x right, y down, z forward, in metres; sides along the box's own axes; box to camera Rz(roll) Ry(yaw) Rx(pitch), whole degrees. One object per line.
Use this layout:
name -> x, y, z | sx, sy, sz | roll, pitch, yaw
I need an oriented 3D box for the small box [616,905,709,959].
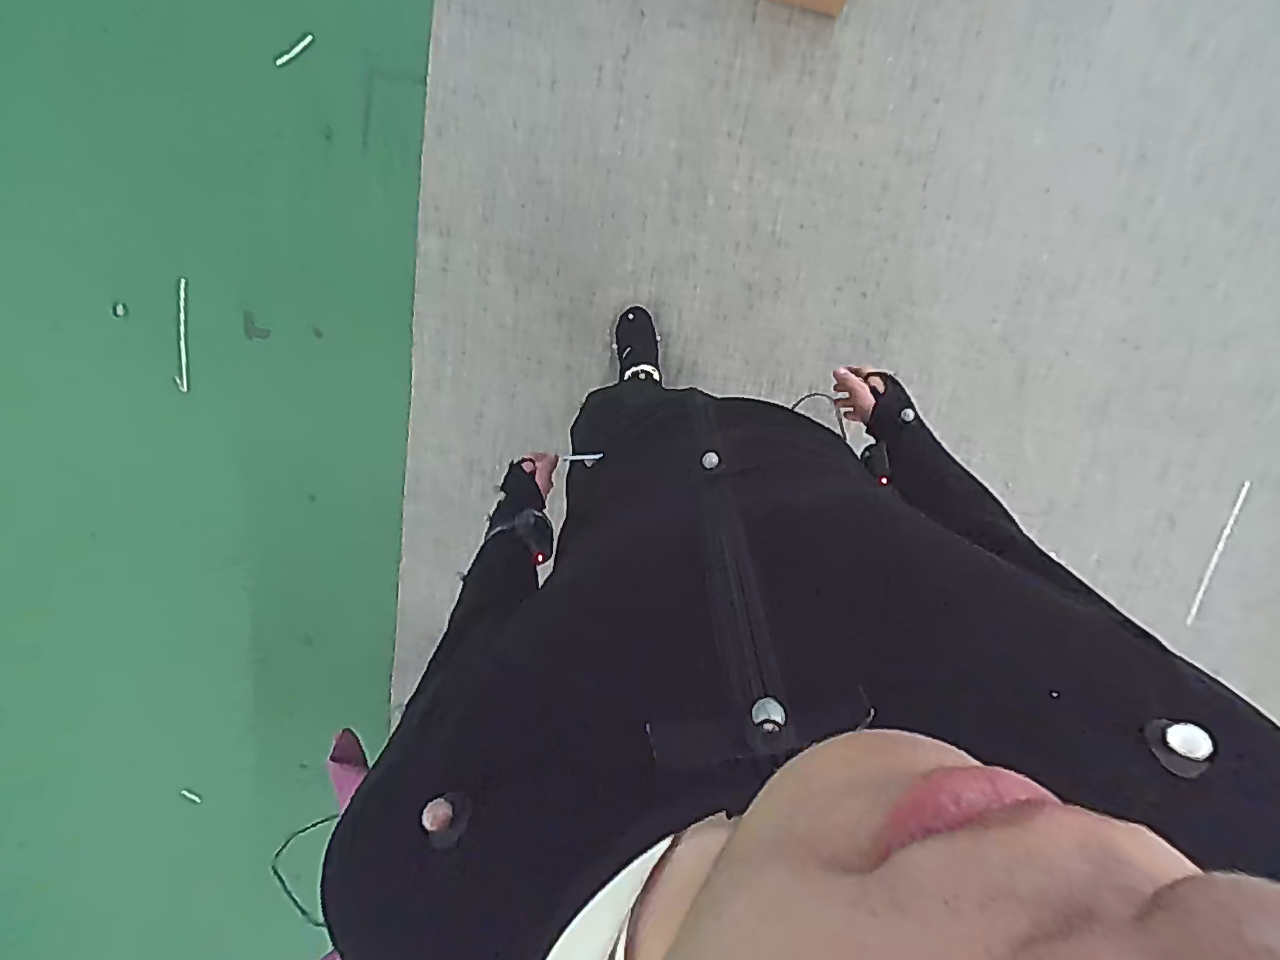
small box -> 0.039, 0.955, 1.025 | 0.168, 0.176, 0.179 | 7, 104, -1
